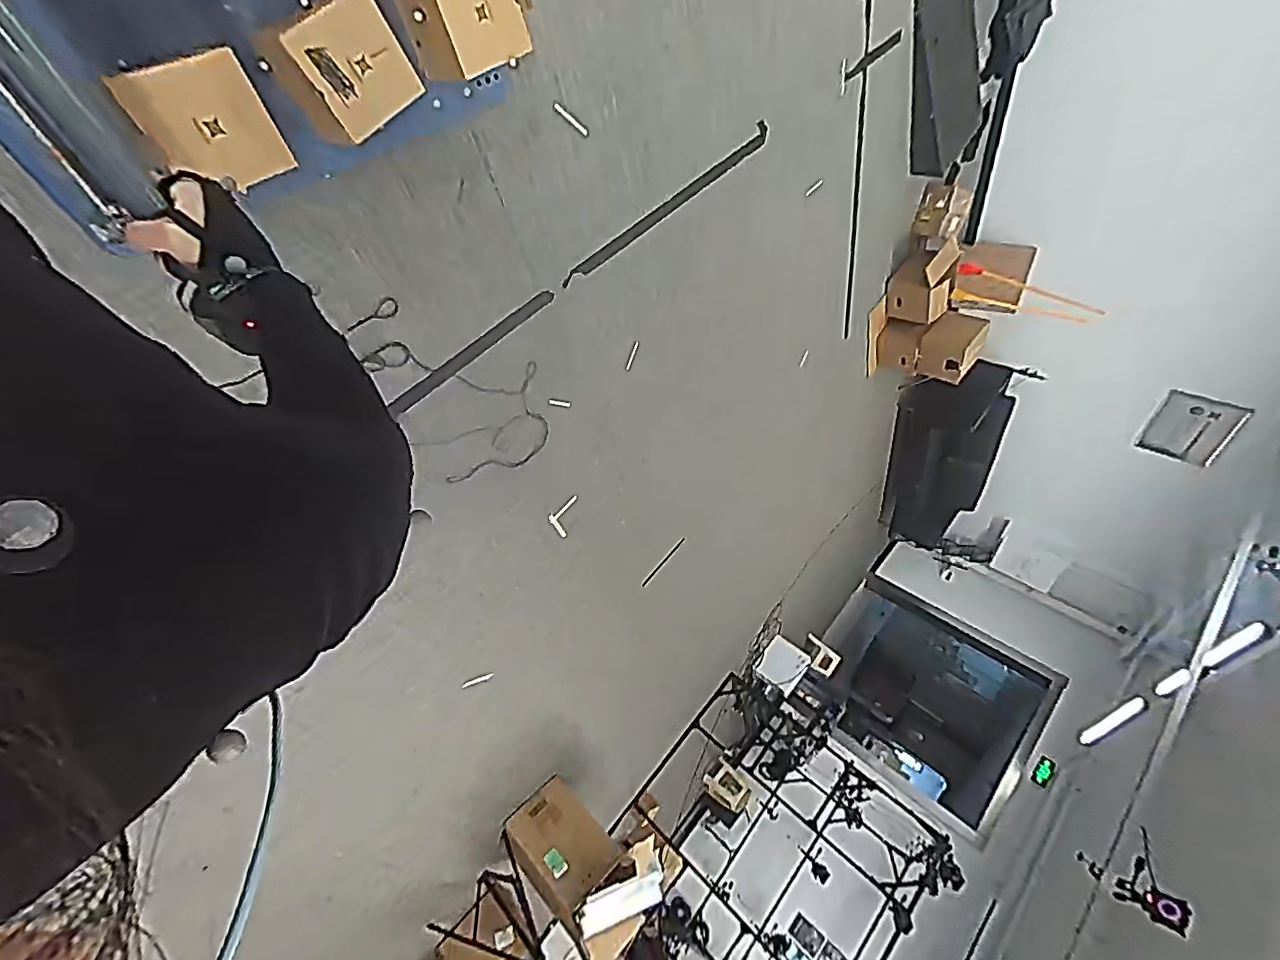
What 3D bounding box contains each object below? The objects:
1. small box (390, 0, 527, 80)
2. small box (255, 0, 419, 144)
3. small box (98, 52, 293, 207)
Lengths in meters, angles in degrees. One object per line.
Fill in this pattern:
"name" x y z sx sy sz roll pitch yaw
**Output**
"small box" -0.363 -0.912 1.063 0.179 0.176 0.168 -44 143 -22
"small box" -0.544 -0.733 0.965 0.179 0.176 0.168 -51 145 -15
"small box" -0.716 -0.565 0.872 0.179 0.176 0.168 -42 142 -25
